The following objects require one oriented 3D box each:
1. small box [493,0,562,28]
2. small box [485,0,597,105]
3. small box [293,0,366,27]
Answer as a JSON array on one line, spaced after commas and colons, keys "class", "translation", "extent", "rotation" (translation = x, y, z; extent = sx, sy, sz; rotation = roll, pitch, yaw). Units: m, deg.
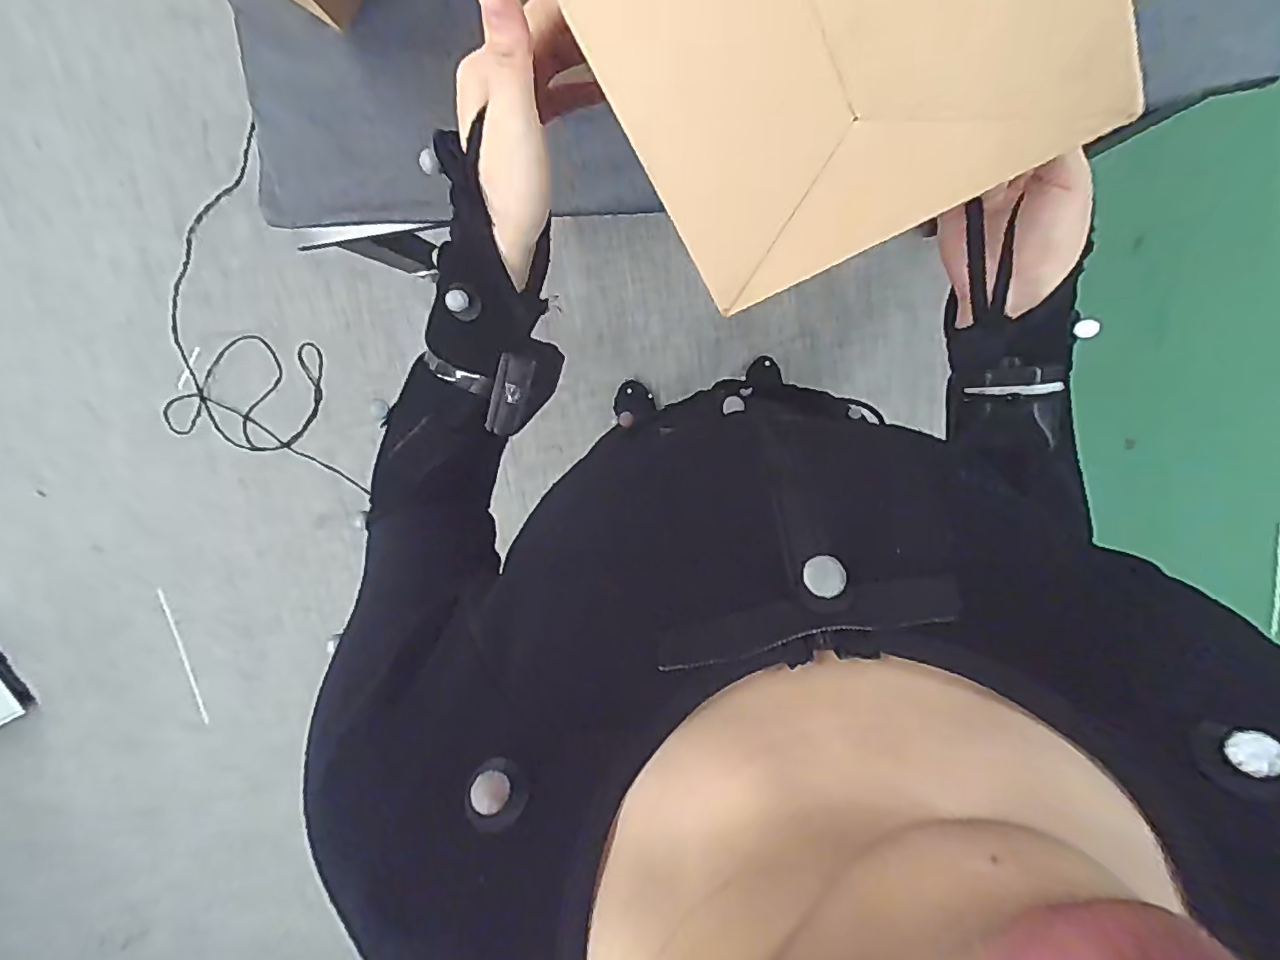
[{"class": "small box", "translation": [-0.100, -0.507, 0.414], "extent": [0.168, 0.176, 0.179], "rotation": [-43, 94, 10]}, {"class": "small box", "translation": [-0.085, -0.544, 0.572], "extent": [0.168, 0.176, 0.179], "rotation": [-32, 96, 8]}, {"class": "small box", "translation": [-0.396, -0.647, 0.575], "extent": [0.179, 0.176, 0.168], "rotation": [33, 101, -3]}]
